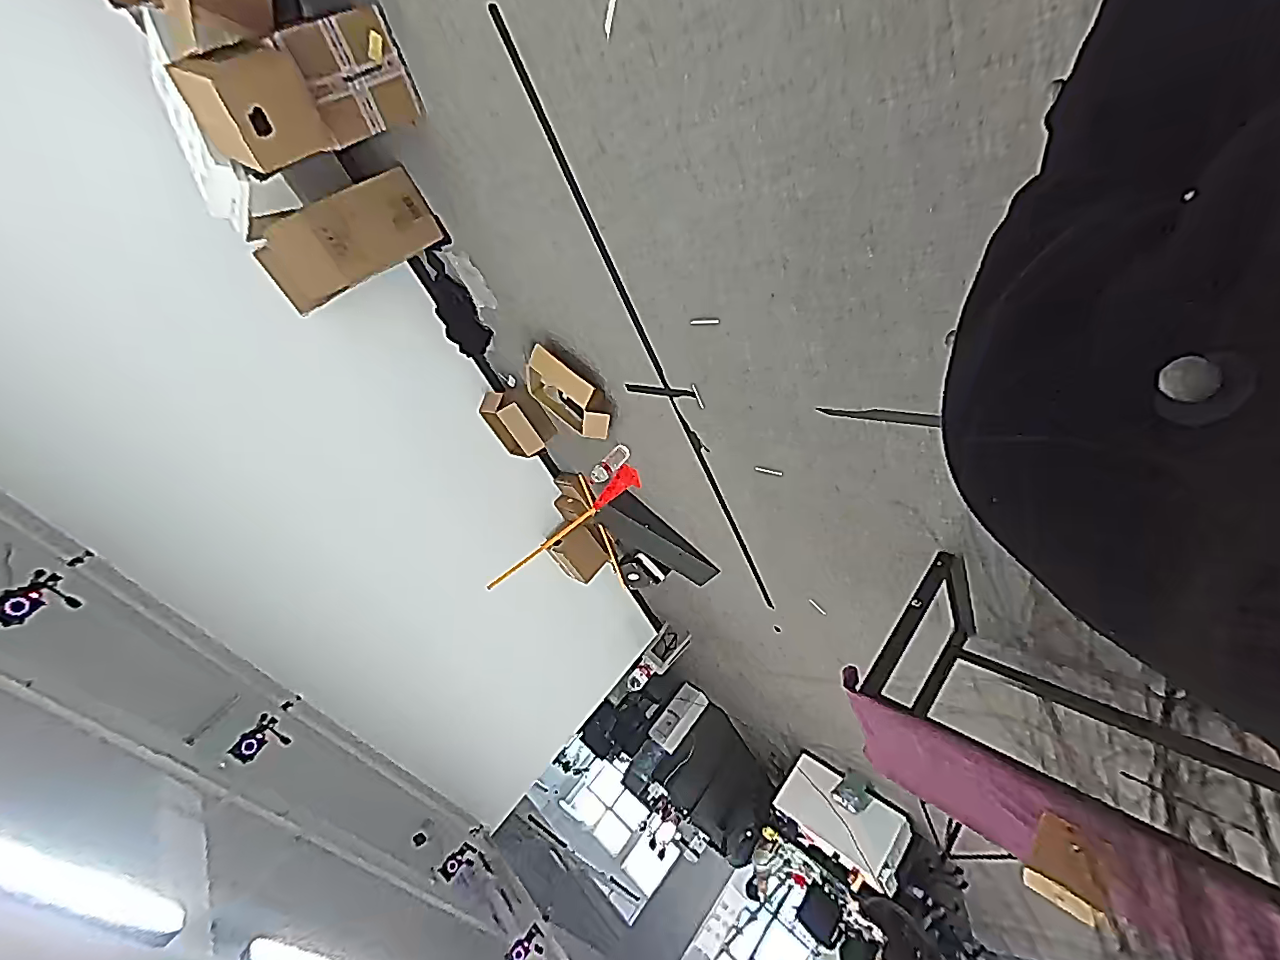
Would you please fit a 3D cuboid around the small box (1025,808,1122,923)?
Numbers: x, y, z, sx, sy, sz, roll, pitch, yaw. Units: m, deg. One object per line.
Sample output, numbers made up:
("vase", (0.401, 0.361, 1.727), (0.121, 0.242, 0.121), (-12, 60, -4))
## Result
("small box", (1.165, 1.032, 1.456), (0.168, 0.176, 0.179), (17, 146, 45))
